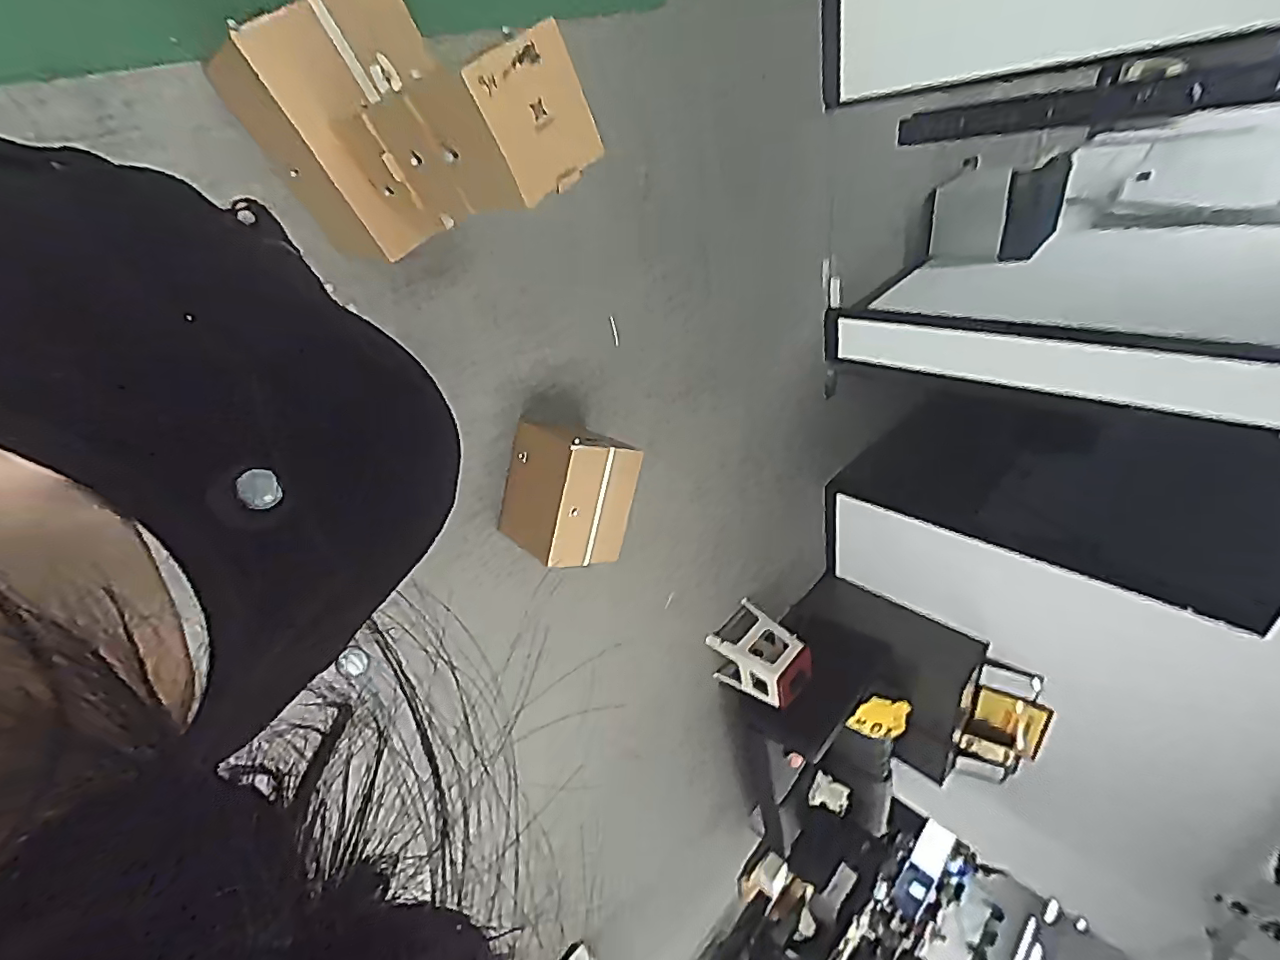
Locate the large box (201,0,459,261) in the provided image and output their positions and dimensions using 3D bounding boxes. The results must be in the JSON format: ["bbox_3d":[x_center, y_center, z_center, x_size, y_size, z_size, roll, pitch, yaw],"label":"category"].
[{"bbox_3d":[-0.594,-0.726,1.136,0.320,0.320,0.408,-48,134,-21],"label":"large box"}]

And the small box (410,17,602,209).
[{"bbox_3d":[-0.191,-0.519,0.784,0.168,0.176,0.179,-47,136,-20],"label":"small box"}]

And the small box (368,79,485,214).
[{"bbox_3d":[-0.305,-0.566,0.893,0.168,0.176,0.179,-48,135,-20],"label":"small box"}]

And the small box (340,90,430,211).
[{"bbox_3d":[-0.420,-0.616,0.998,0.179,0.176,0.168,-47,135,-21],"label":"small box"}]
